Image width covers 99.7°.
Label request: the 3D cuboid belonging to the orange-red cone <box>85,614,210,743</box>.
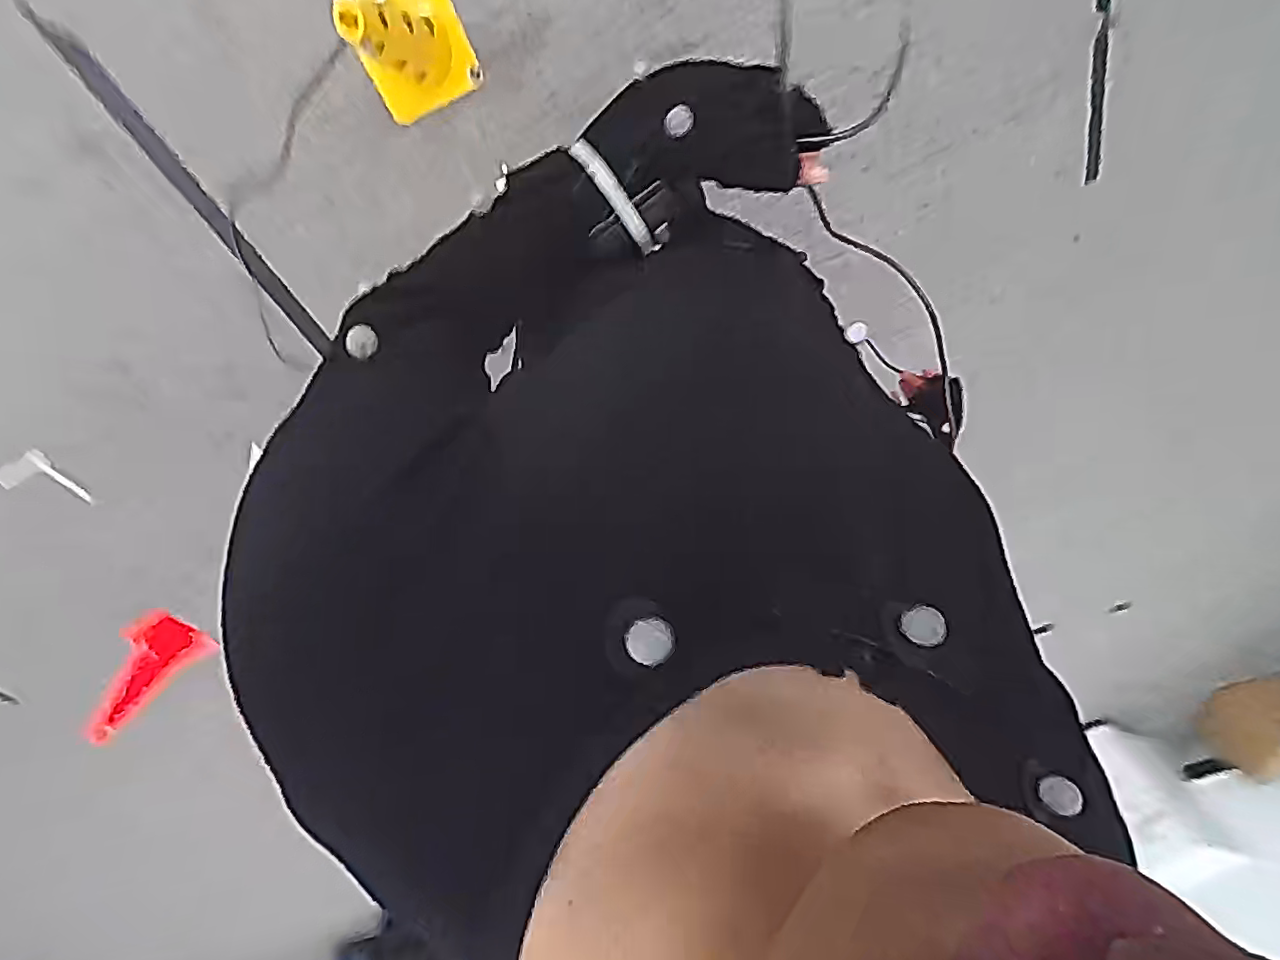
[{"bbox_3d":[-1.562,0.632,1.669,0.198,0.360,0.199,-27,125,12],"label":"orange-red cone"}]
